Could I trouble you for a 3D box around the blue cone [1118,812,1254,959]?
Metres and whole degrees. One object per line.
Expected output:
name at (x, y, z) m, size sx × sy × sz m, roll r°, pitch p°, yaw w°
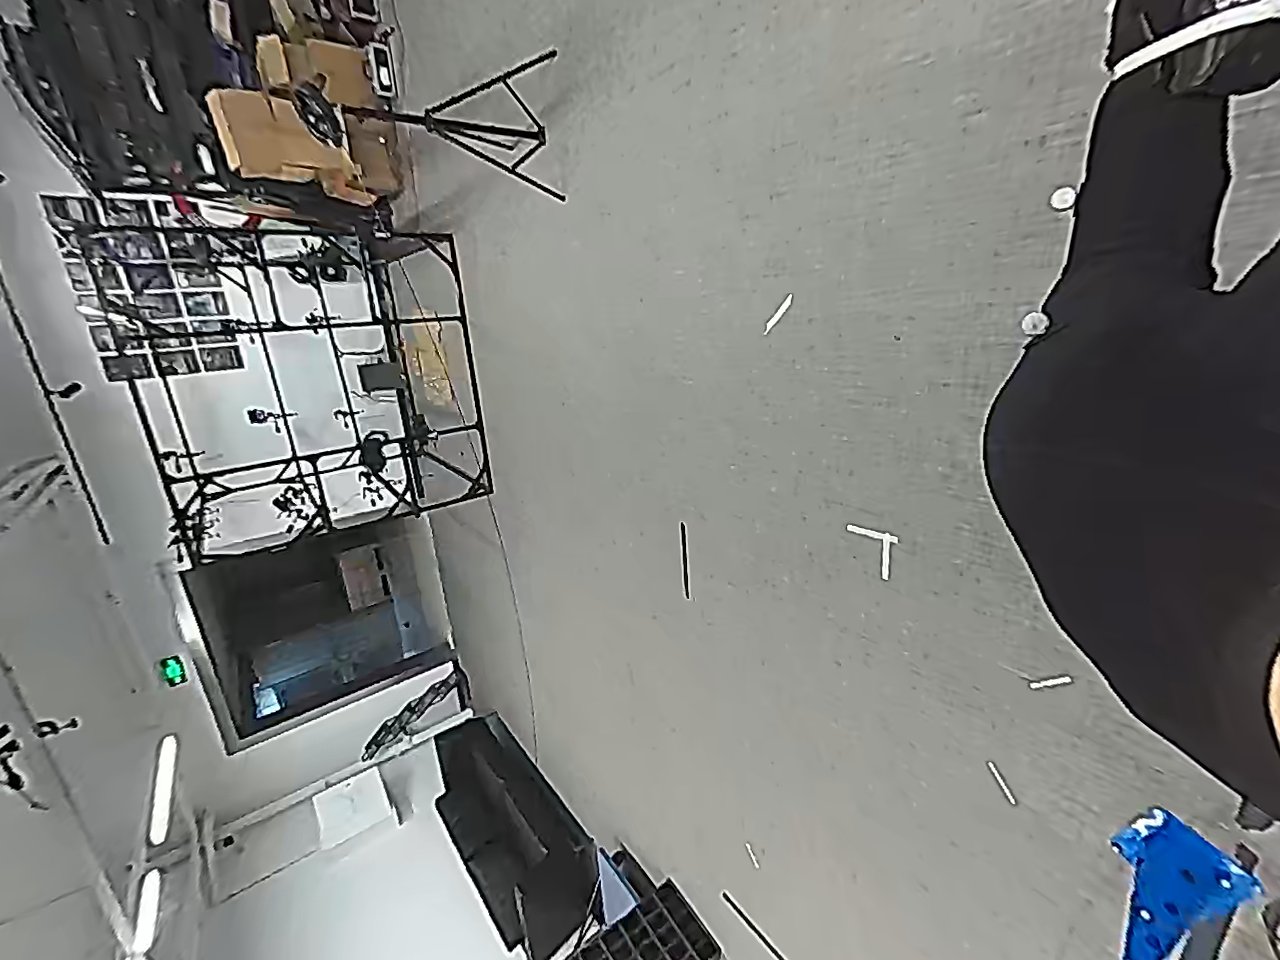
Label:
blue cone at (1.152, 0.939, 1.193) m, size 0.193 × 0.380 × 0.192 m, roll 44°, pitch 137°, yaw 38°
